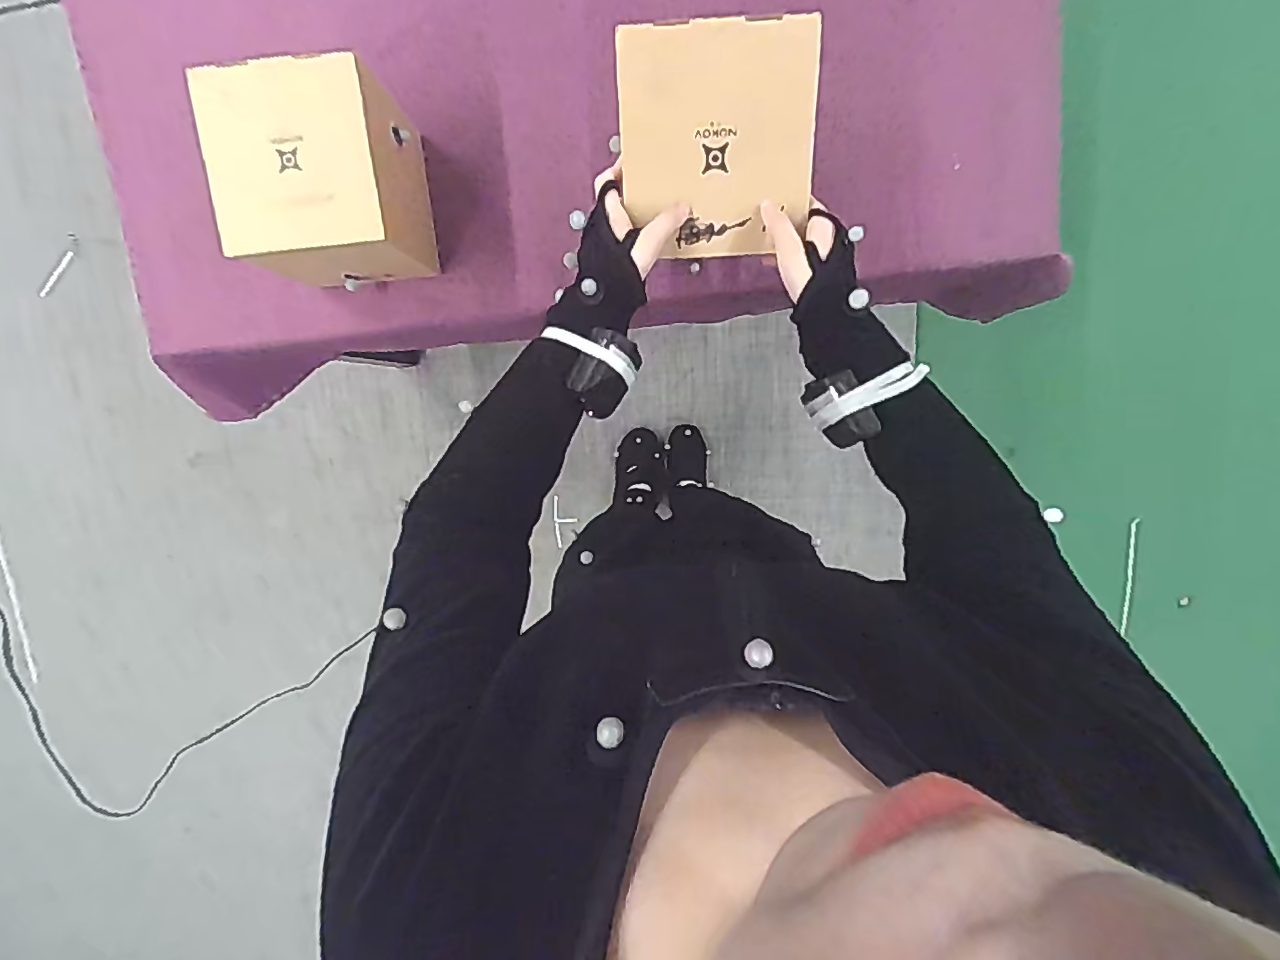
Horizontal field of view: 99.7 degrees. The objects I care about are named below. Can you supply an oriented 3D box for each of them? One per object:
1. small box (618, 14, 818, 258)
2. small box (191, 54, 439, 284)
[{"bbox_3d":[0.066,-0.319,0.538,0.168,0.176,0.179,-1,113,3],"label":"small box"},{"bbox_3d":[-0.346,-0.334,0.613,0.168,0.176,0.179,-5,100,0],"label":"small box"}]
